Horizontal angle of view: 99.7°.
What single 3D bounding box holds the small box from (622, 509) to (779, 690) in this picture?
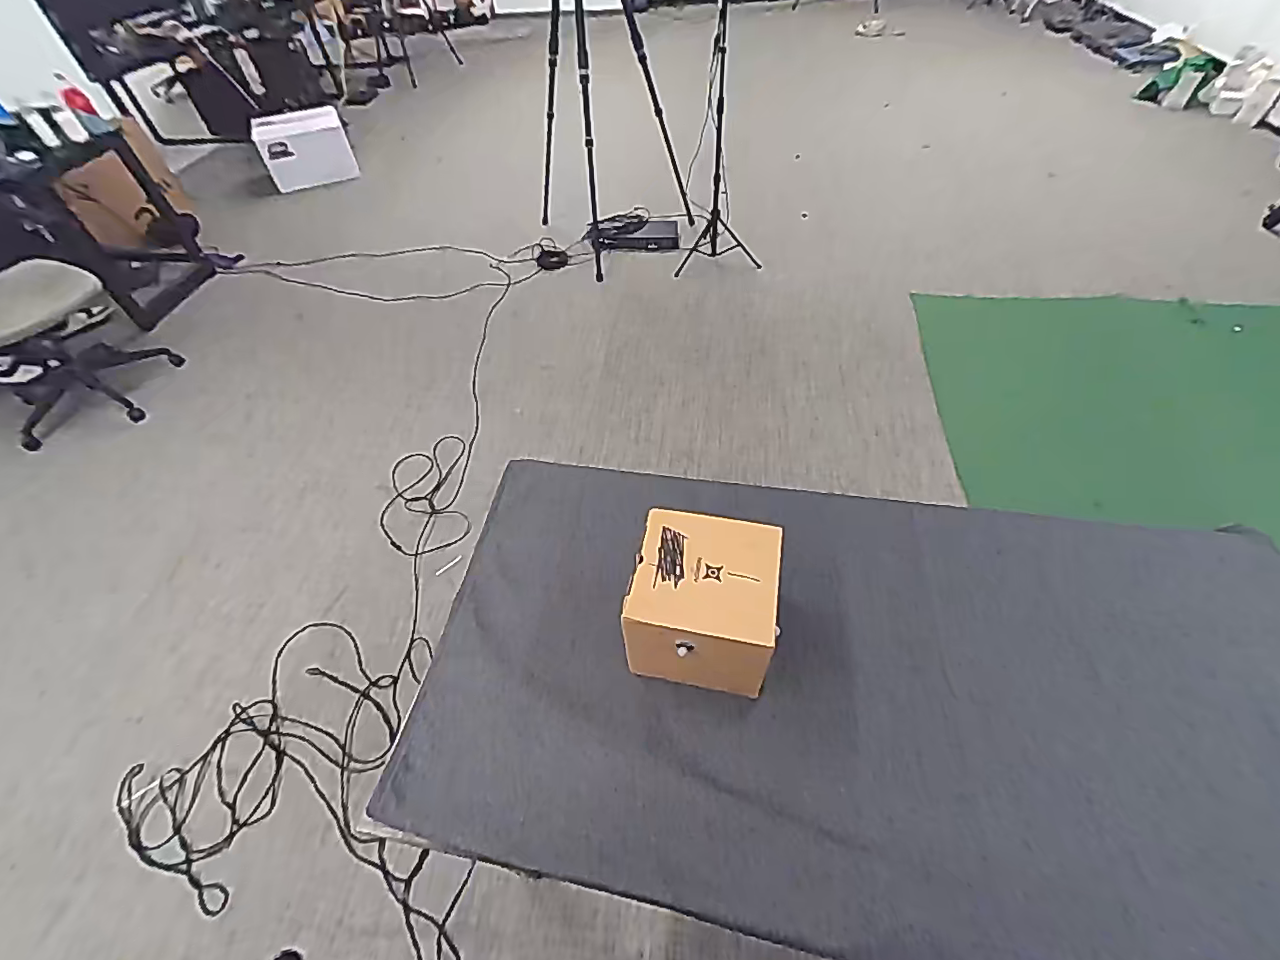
[{"bbox_3d":[0.083,0.163,0.730,0.179,0.176,0.168,8,50,10],"label":"small box"}]
